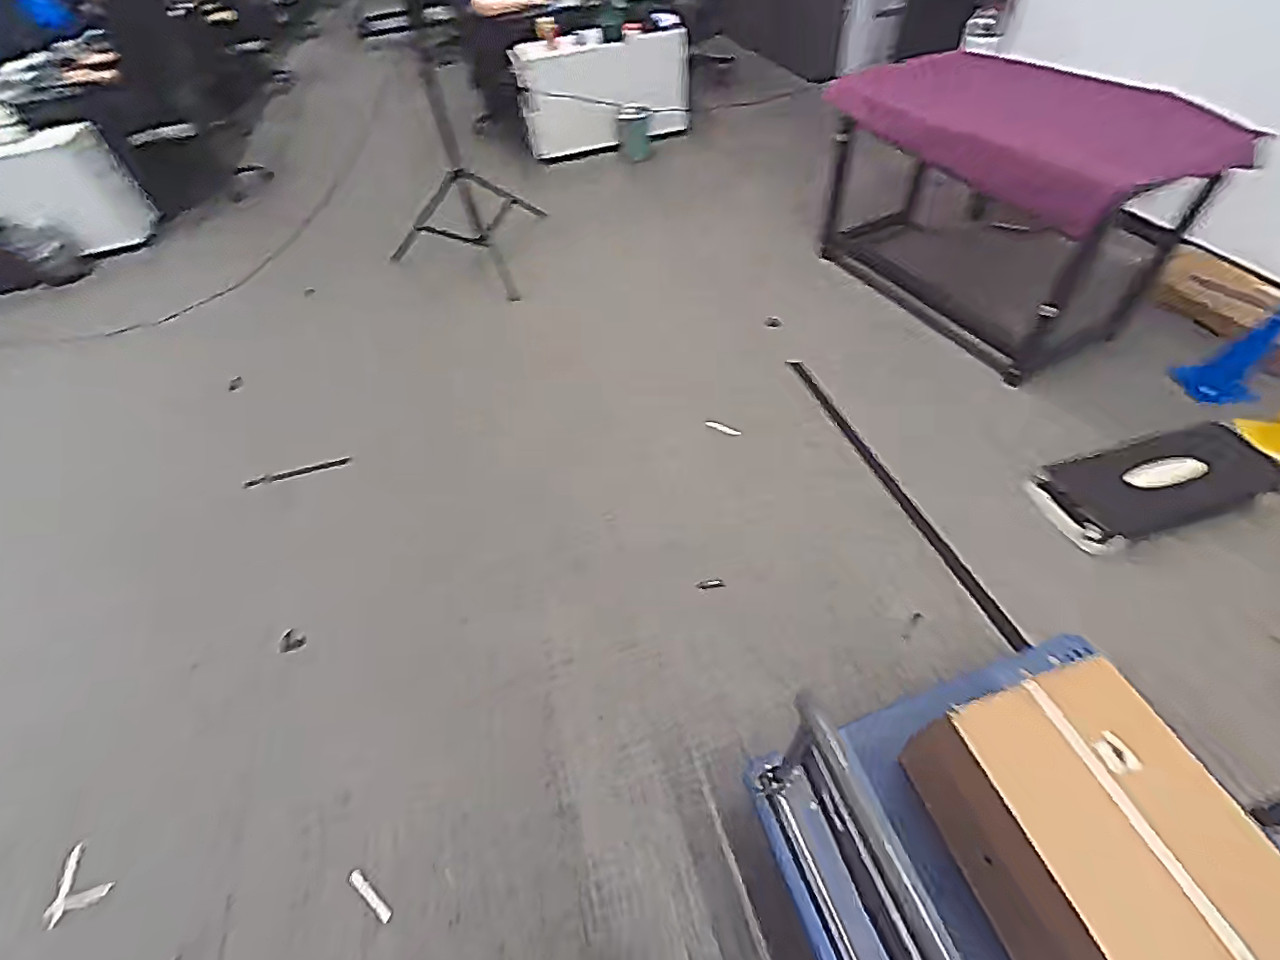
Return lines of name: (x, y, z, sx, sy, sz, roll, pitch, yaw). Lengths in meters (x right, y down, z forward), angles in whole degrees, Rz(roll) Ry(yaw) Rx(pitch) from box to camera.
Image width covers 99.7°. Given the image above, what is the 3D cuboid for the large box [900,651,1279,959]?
large box: (0.727, 0.577, 0.914, 0.320, 0.320, 0.408, -16, 50, -8)
